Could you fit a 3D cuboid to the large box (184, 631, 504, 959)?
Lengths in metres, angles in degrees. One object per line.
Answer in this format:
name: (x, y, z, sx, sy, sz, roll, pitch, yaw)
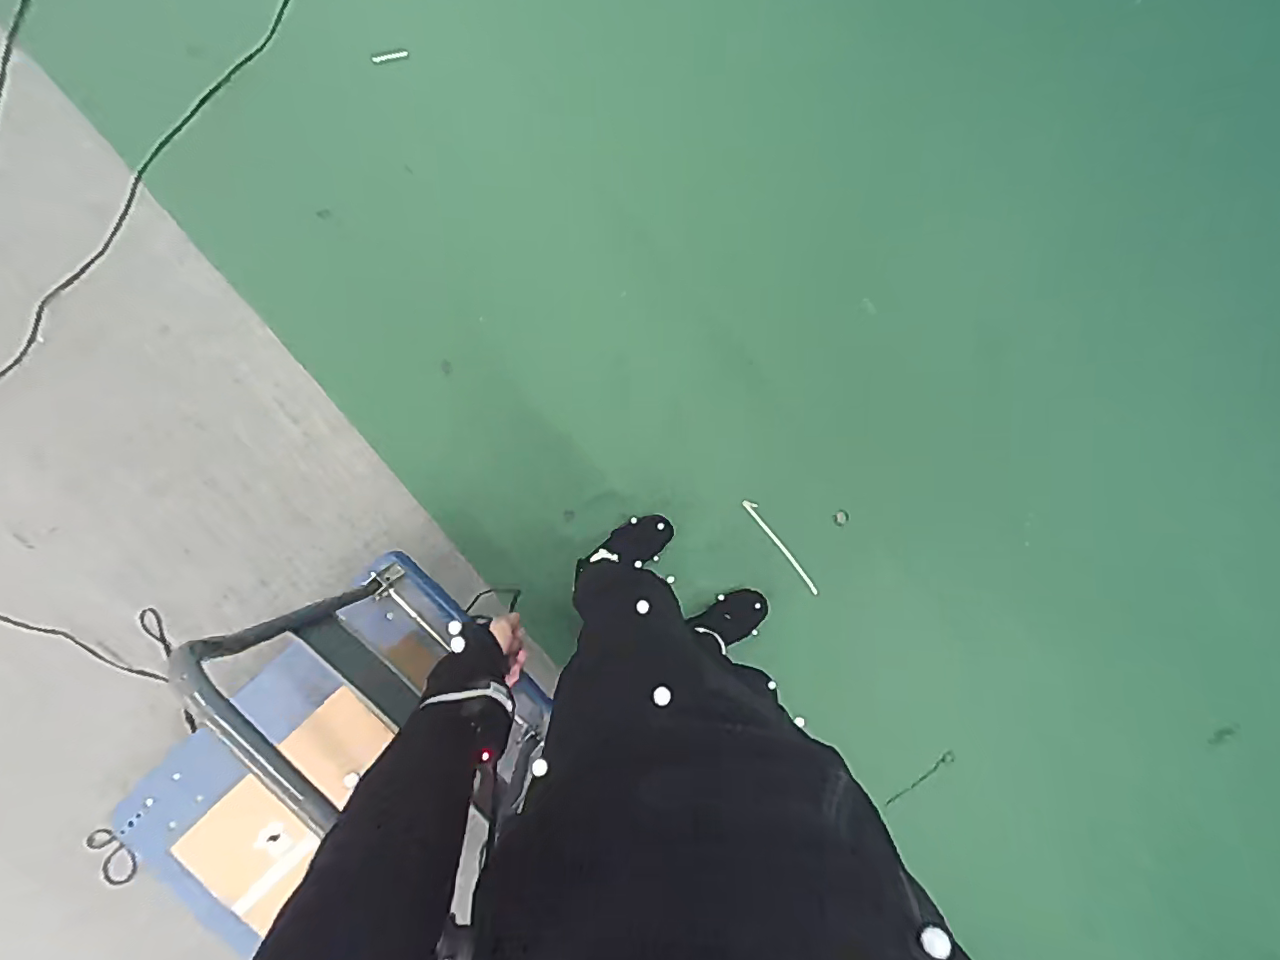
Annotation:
large box: (-0.543, 0.584, 1.082, 0.408, 0.320, 0.320, -44, 93, -1)
